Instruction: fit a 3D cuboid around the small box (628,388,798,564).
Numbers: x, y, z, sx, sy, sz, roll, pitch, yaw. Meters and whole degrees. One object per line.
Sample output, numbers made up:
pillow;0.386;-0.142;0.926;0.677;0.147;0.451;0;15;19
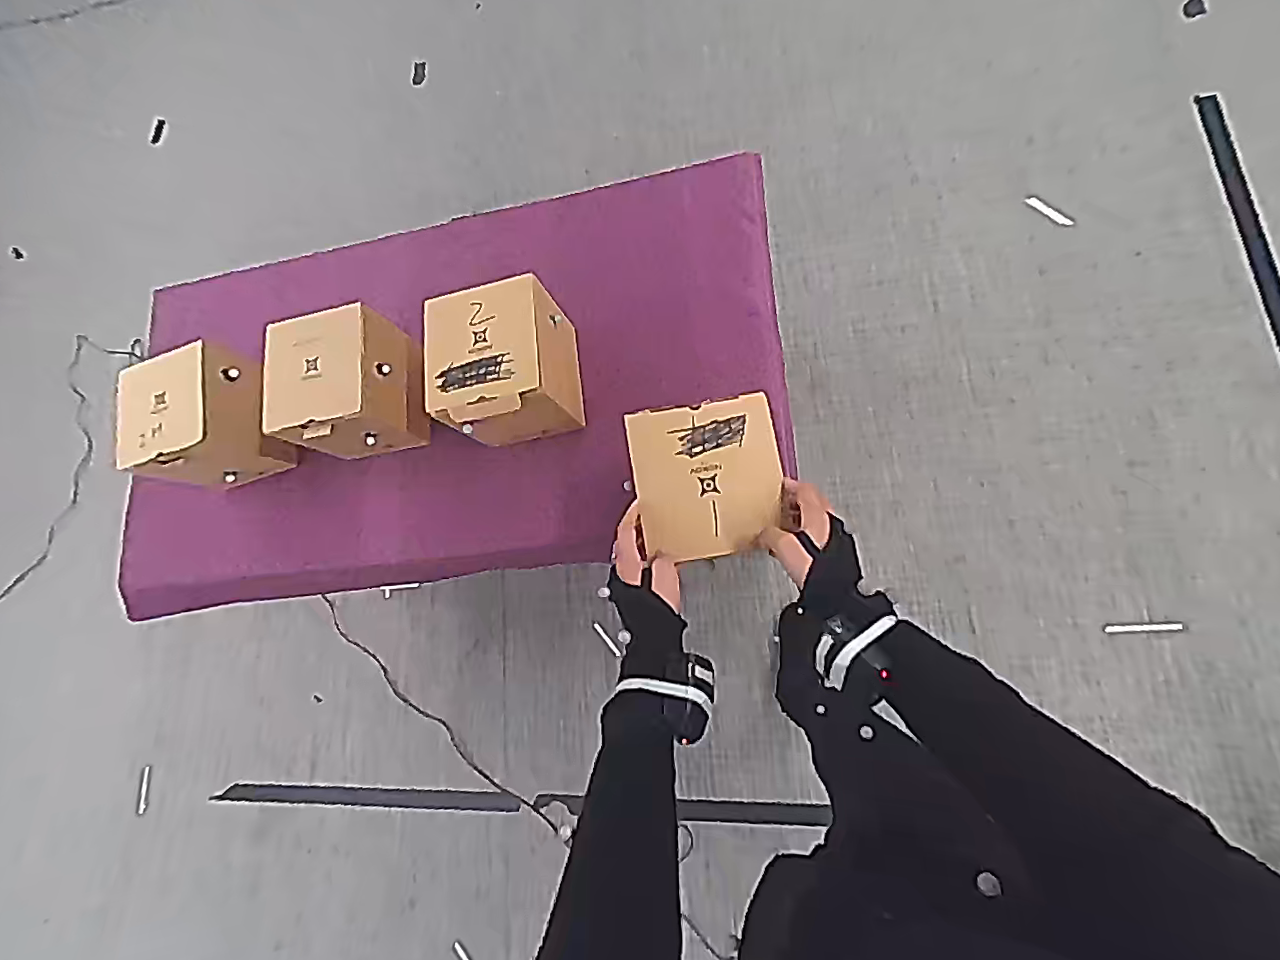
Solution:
small box;0.080;0.006;0.672;0.168;0.176;0.179;-10;80;1

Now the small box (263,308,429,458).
small box;-0.452;-0.139;0.853;0.168;0.176;0.179;-9;77;11

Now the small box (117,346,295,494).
small box;-0.713;-0.091;0.903;0.168;0.176;0.179;-16;76;10
